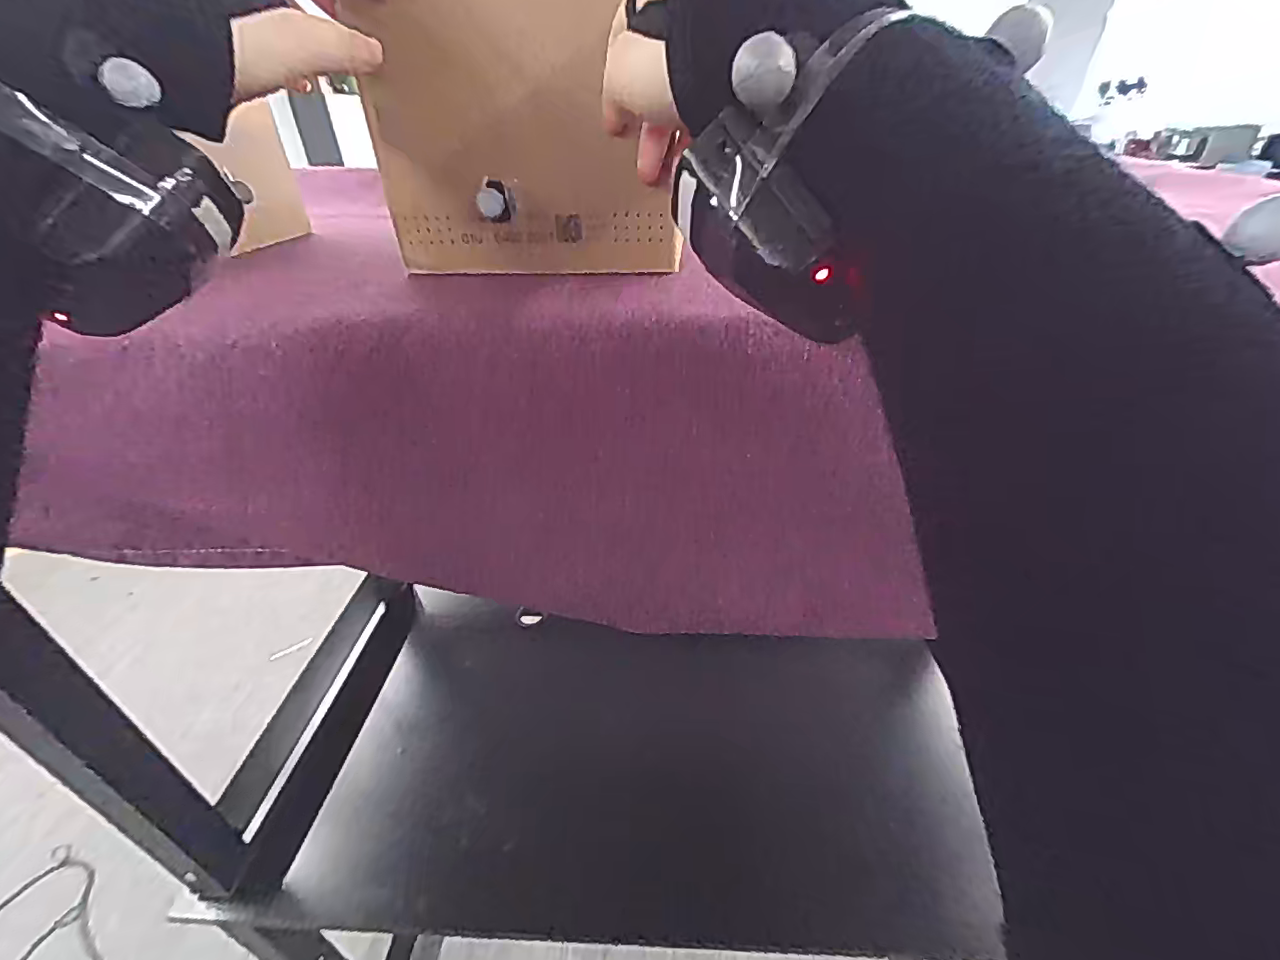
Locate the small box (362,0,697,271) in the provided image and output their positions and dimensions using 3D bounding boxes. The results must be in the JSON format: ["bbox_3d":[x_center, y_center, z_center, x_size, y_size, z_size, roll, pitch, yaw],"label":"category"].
[{"bbox_3d":[-0.051,-0.241,0.344,0.168,0.176,0.179,2,34,6],"label":"small box"}]

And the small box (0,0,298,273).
[{"bbox_3d":[-0.368,-0.244,0.361,0.168,0.176,0.179,0,33,3],"label":"small box"}]
